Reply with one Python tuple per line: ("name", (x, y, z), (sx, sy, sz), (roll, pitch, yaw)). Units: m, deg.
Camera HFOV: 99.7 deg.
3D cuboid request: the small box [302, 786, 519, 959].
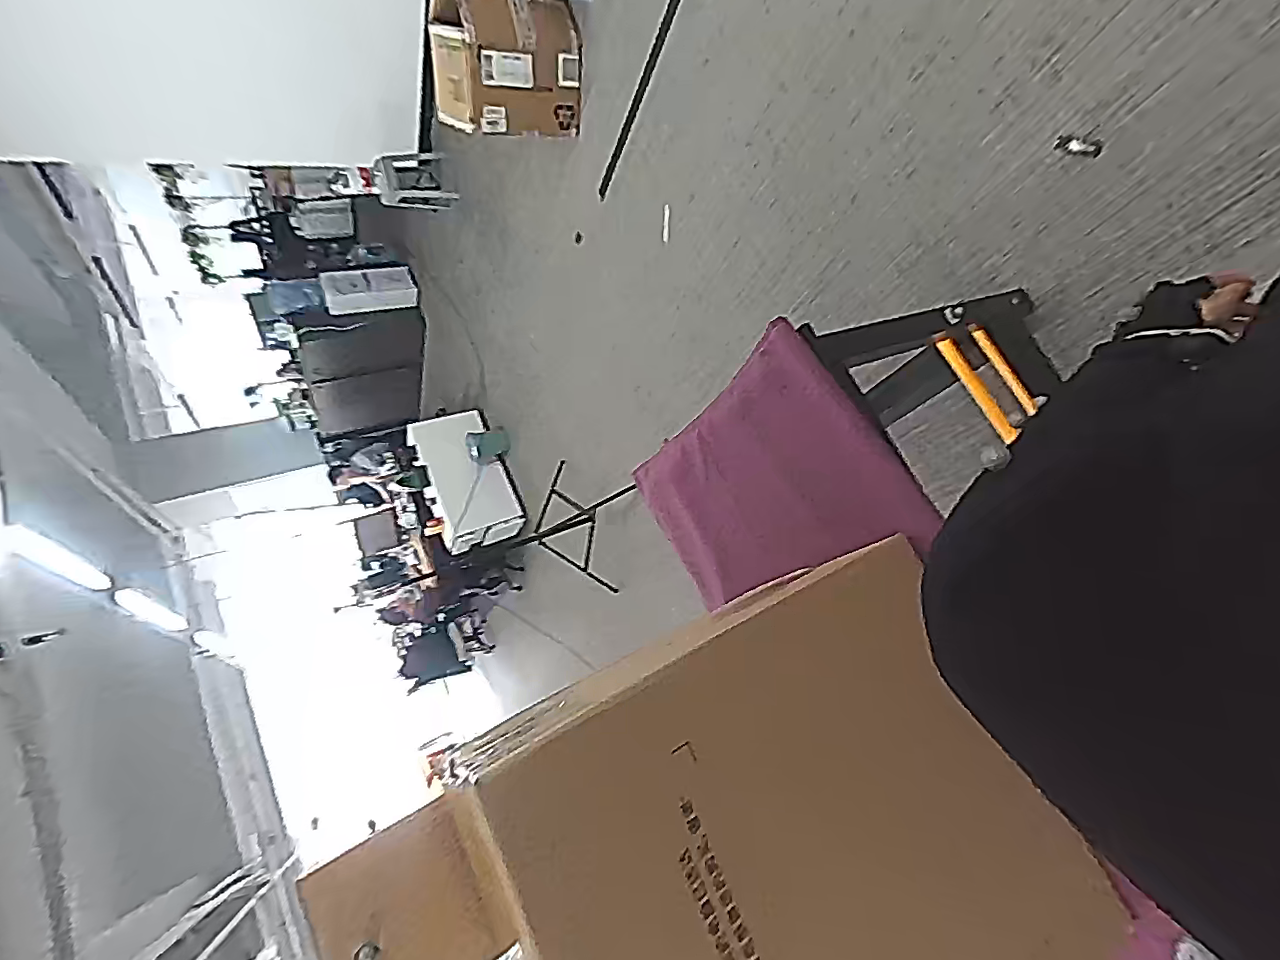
("small box", (-0.263, 0.485, 0.630), (0.179, 0.176, 0.168), (59, 148, 15))
